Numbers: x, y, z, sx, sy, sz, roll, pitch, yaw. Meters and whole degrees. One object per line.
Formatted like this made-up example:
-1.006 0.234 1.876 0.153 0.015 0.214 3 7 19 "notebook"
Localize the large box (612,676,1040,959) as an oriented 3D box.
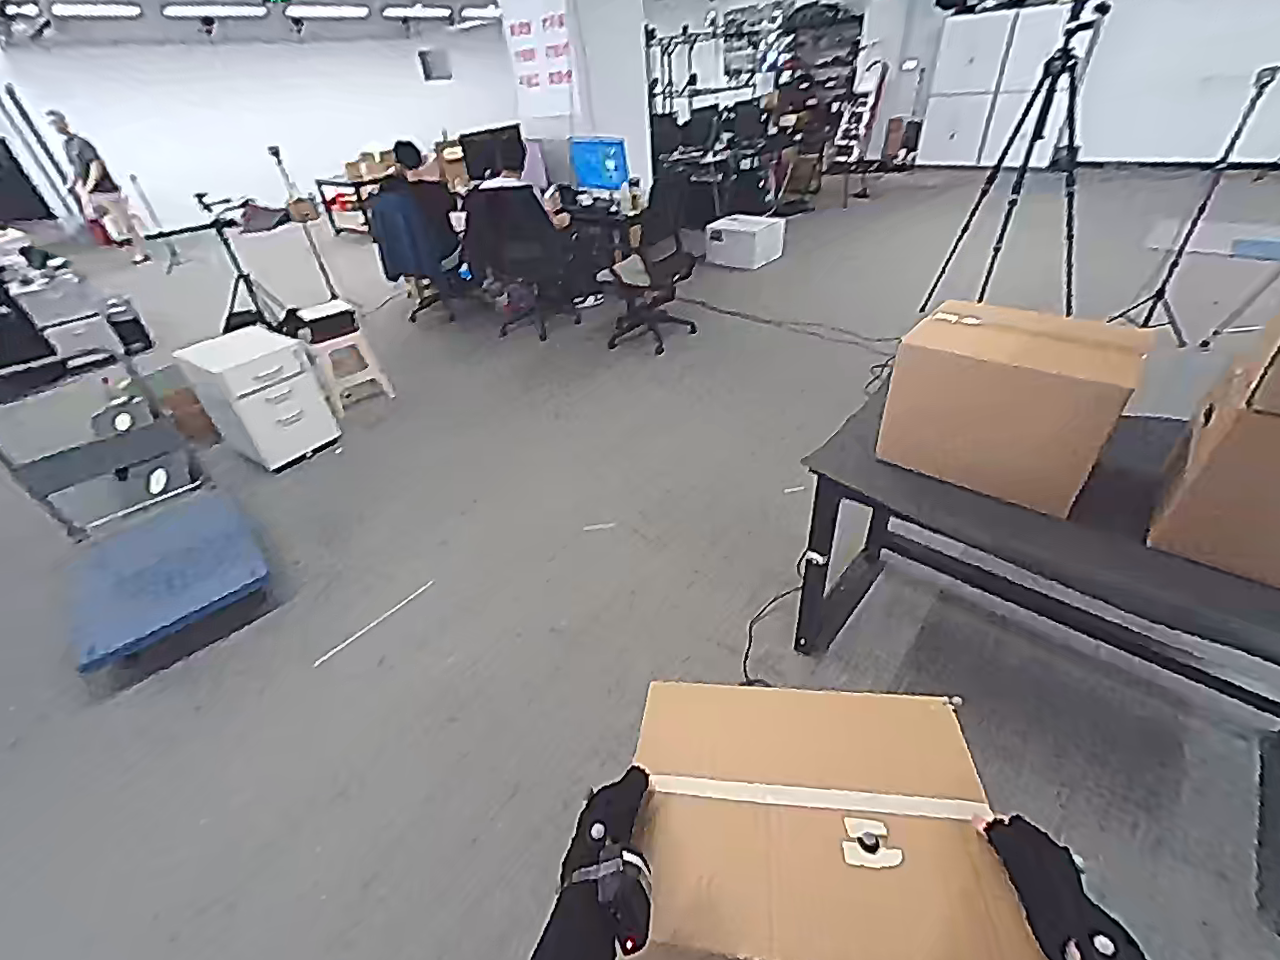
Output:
0.200 0.495 0.712 0.408 0.320 0.320 0 30 11 "large box"
